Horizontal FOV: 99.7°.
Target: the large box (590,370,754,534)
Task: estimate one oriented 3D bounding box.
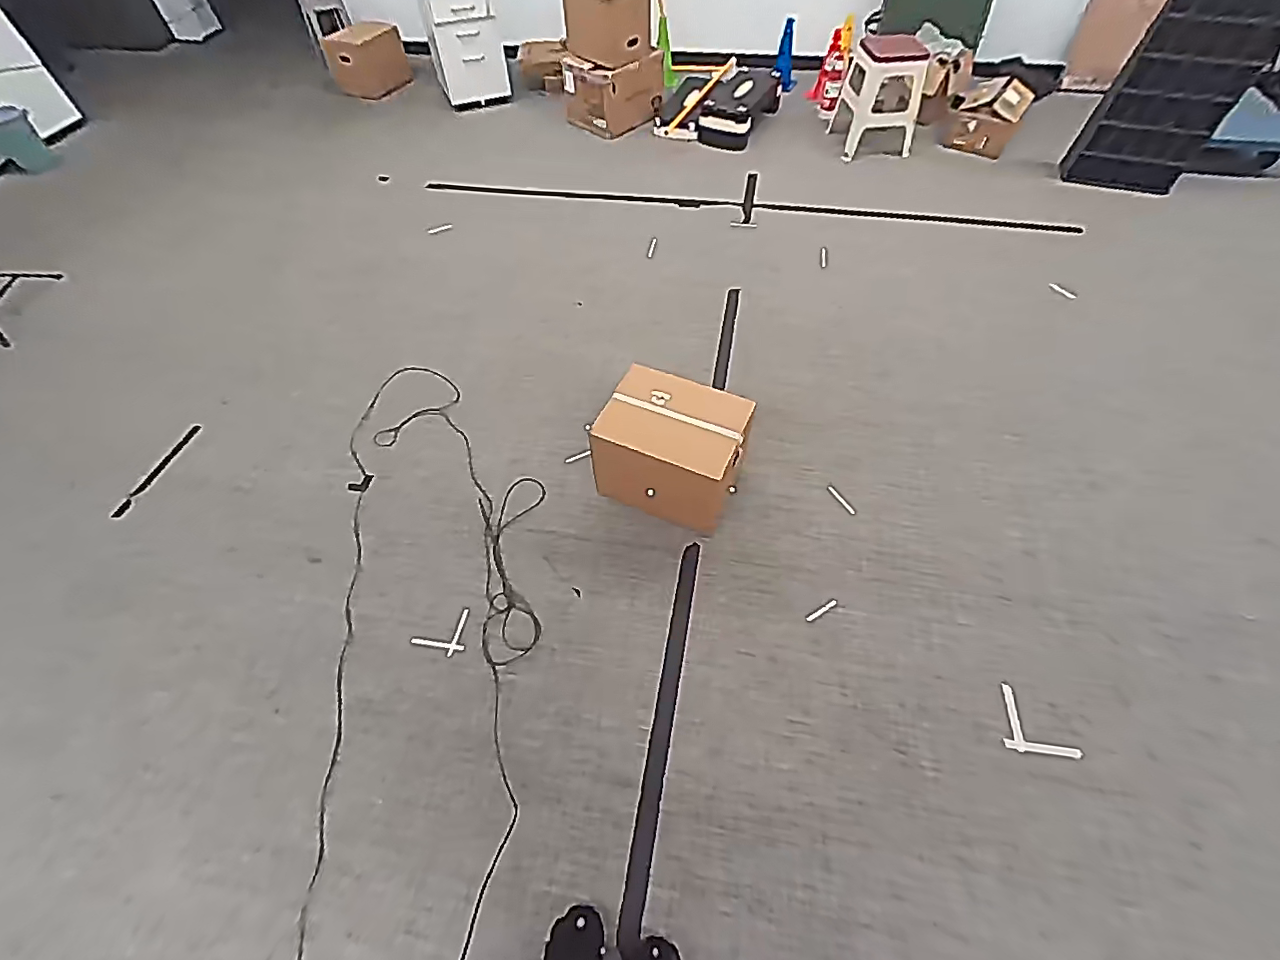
[{"bbox_3d":[0.105,-0.086,1.690,0.408,0.320,0.320,20,57,16],"label":"large box"}]
